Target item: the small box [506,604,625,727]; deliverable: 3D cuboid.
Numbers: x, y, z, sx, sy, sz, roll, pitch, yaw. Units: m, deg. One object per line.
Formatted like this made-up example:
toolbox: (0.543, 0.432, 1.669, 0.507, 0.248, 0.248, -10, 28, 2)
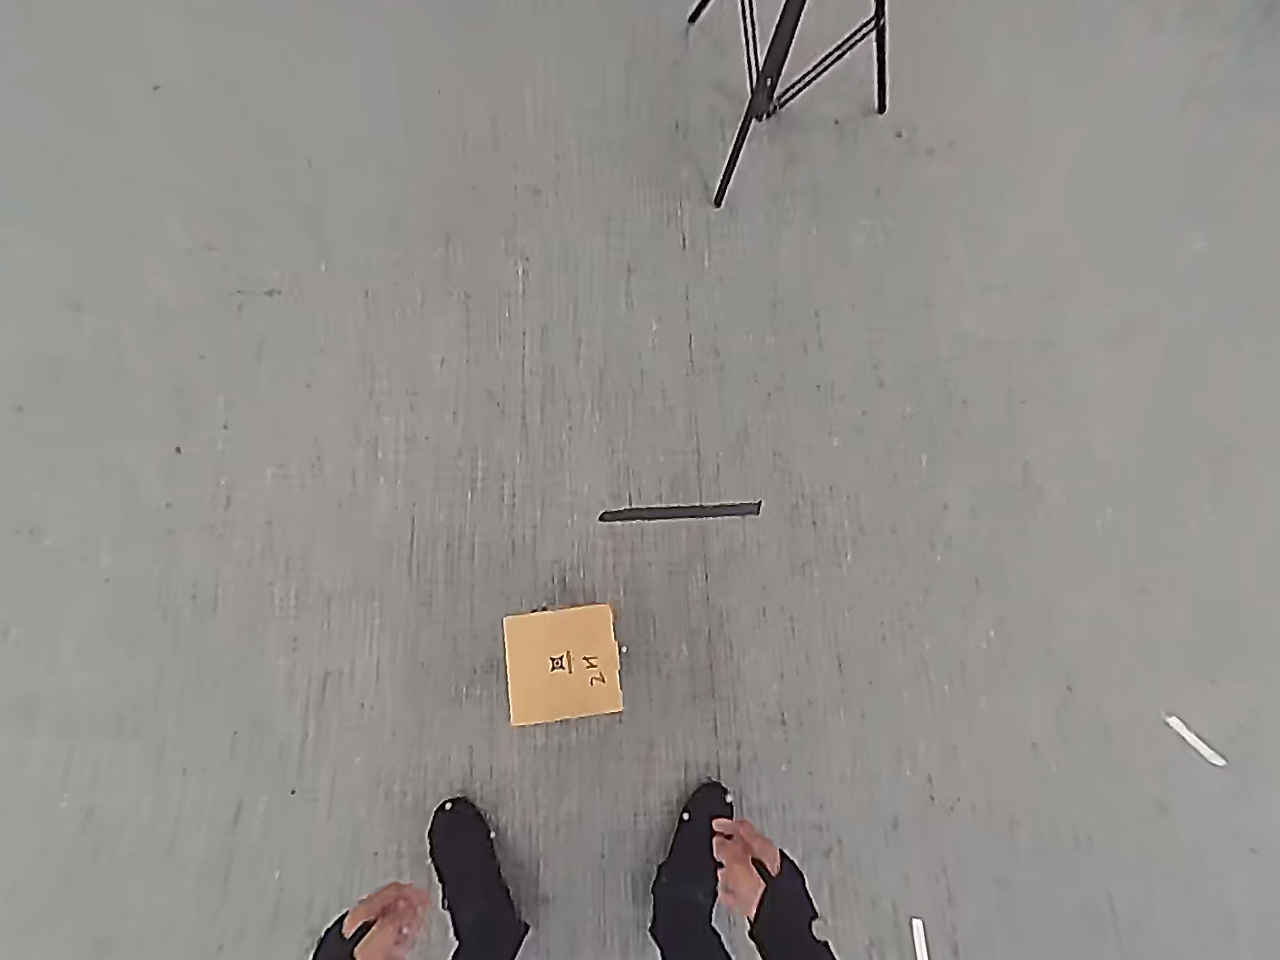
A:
small box: (-0.120, 0.304, 0.914, 0.179, 0.176, 0.168, -6, 78, -4)
